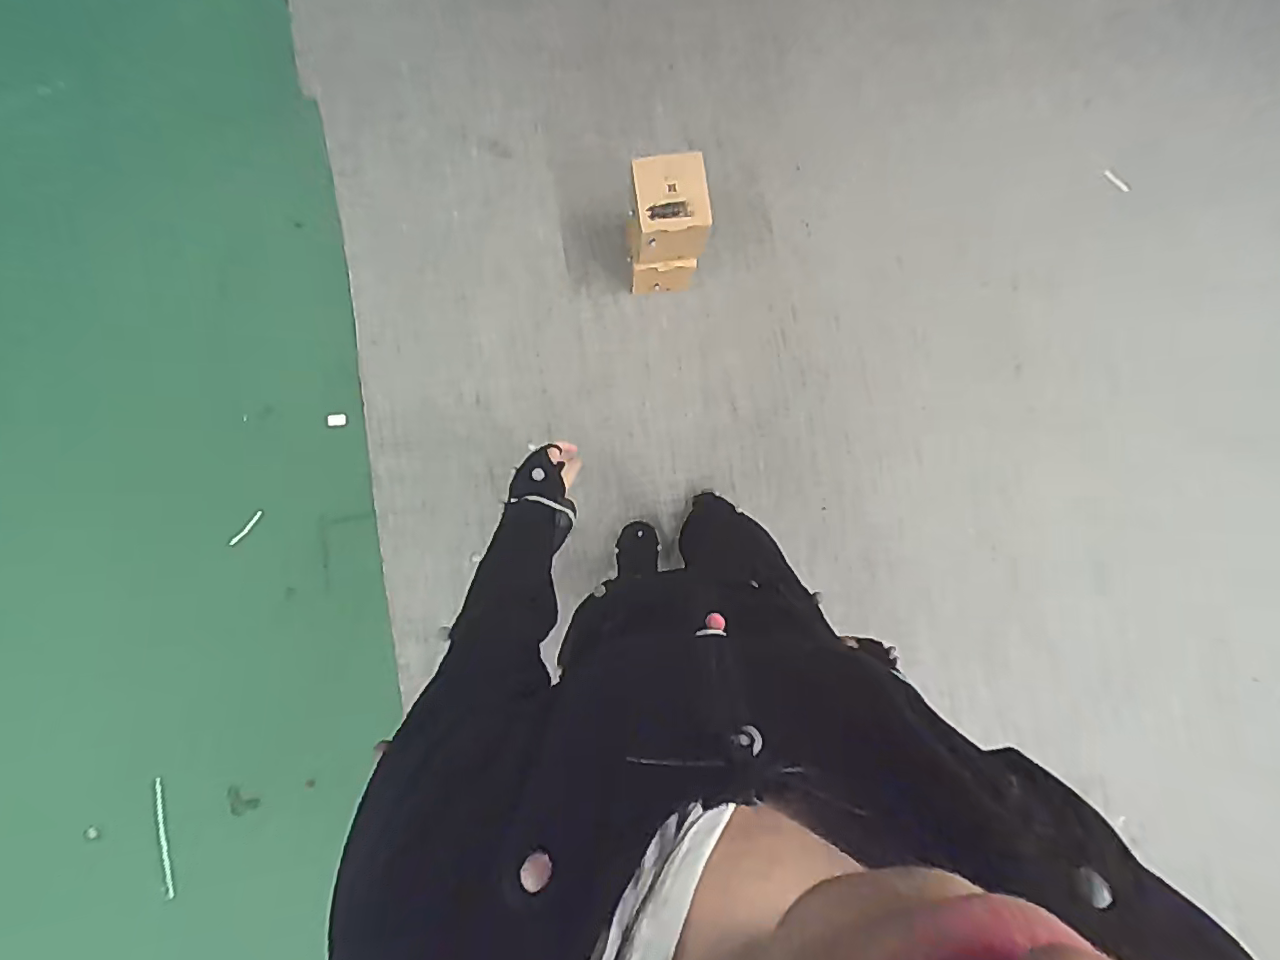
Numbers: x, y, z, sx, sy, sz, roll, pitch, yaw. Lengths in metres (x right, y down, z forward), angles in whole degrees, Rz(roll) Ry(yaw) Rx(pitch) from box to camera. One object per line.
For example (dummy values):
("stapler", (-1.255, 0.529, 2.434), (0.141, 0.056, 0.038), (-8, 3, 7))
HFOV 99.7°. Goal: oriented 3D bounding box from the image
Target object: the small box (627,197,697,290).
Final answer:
("small box", (0.054, -0.636, 1.466), (0.168, 0.176, 0.179), (-4, 88, -3))
